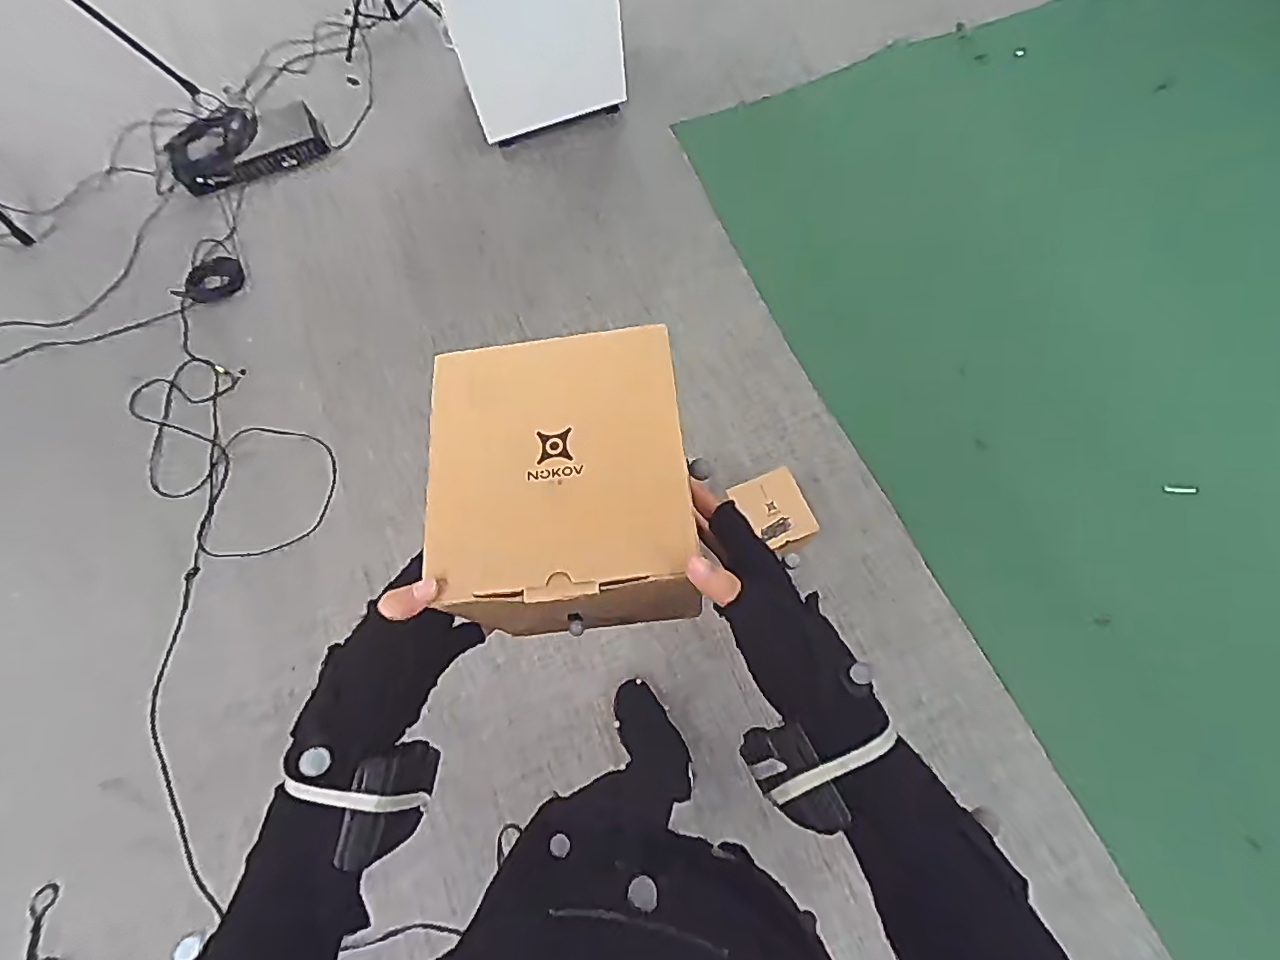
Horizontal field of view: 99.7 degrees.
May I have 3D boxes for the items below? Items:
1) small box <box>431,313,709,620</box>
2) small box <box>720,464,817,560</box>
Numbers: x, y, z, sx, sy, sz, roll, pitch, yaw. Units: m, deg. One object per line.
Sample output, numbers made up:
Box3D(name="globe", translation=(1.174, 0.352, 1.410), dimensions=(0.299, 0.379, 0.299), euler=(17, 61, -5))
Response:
Box3D(name="small box", translation=(-0.042, 0.002, 0.418), dimensions=(0.168, 0.176, 0.179), euler=(-7, 69, 3))
Box3D(name="small box", translation=(0.309, 0.089, 1.339), dimensions=(0.168, 0.176, 0.179), euler=(-21, 71, -5))
